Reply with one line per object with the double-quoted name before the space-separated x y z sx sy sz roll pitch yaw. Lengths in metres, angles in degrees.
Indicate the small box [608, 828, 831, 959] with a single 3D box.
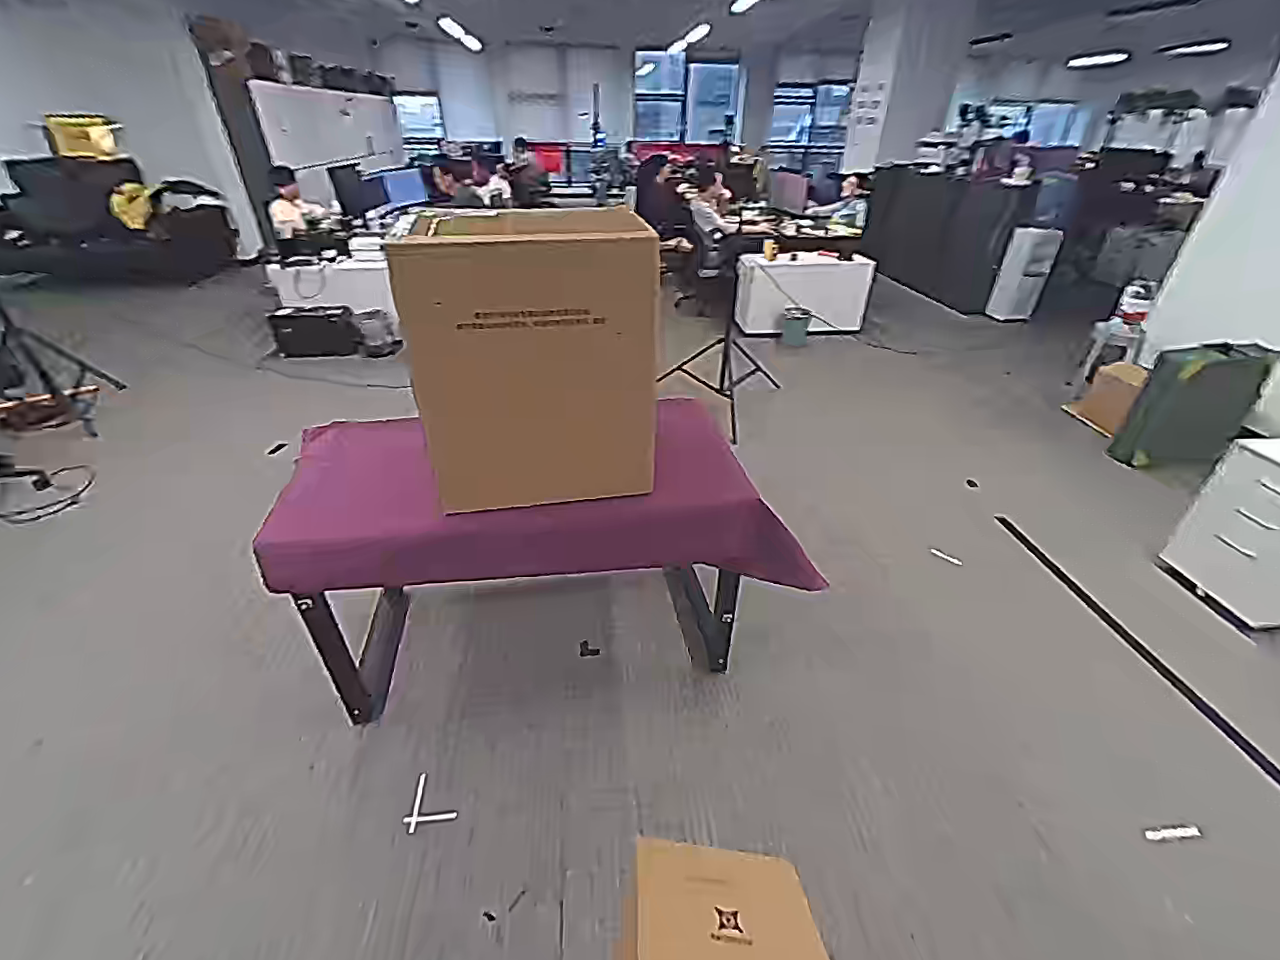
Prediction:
"small box" 0.059 0.452 0.471 0.168 0.176 0.179 11 3 -3
